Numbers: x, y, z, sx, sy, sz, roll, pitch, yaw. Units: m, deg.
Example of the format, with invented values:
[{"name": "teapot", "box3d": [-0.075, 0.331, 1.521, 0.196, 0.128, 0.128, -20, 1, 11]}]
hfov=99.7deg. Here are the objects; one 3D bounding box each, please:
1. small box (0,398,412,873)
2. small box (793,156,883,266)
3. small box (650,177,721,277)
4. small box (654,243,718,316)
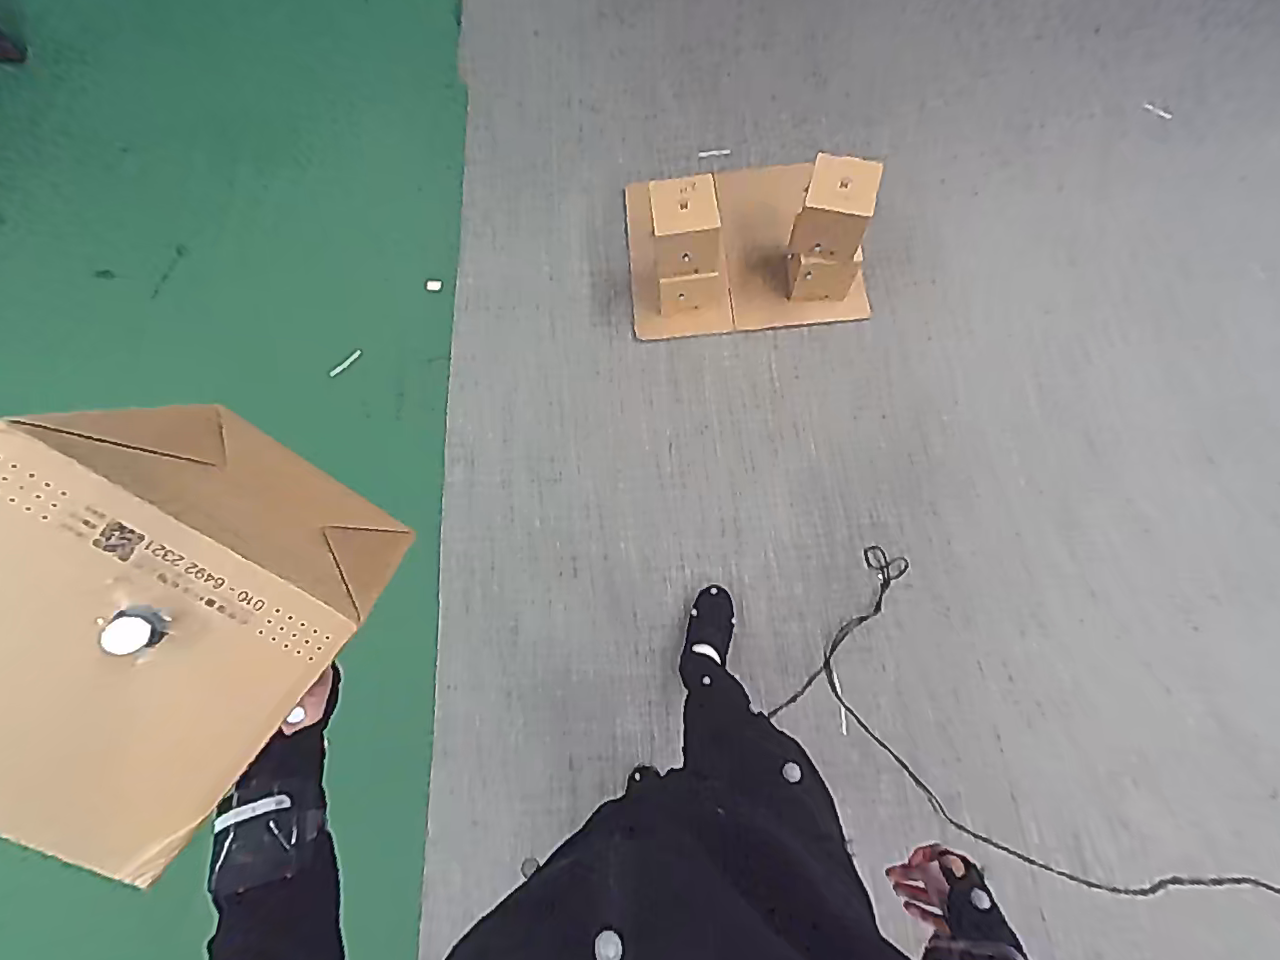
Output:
[{"name": "small box", "box3d": [-0.261, 0.065, 0.320, 0.168, 0.179, 0.176, 38, 88, -17]}, {"name": "small box", "box3d": [0.508, -0.694, 1.403, 0.168, 0.176, 0.179, 15, 73, 9]}, {"name": "small box", "box3d": [0.119, -0.656, 1.426, 0.168, 0.176, 0.179, -6, 71, 2]}, {"name": "small box", "box3d": [0.135, -0.598, 1.579, 0.168, 0.176, 0.179, -7, 70, 3]}]
